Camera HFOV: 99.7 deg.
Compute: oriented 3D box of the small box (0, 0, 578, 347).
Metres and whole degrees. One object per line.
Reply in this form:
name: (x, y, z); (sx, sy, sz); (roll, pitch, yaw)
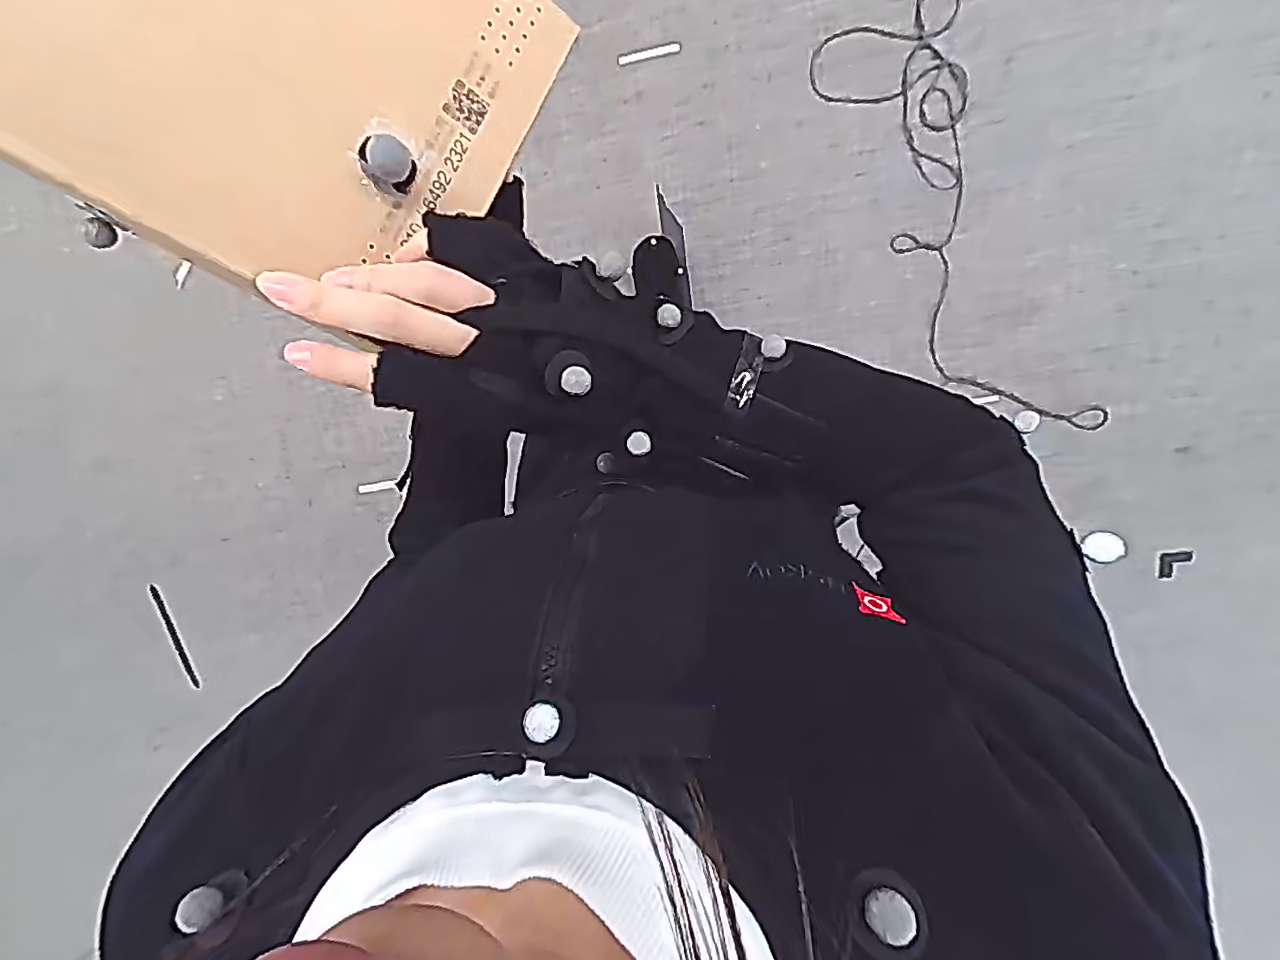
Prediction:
small box: (-0.161, -0.181, 0.277); (0.176, 0.179, 0.168); (28, 88, -32)
